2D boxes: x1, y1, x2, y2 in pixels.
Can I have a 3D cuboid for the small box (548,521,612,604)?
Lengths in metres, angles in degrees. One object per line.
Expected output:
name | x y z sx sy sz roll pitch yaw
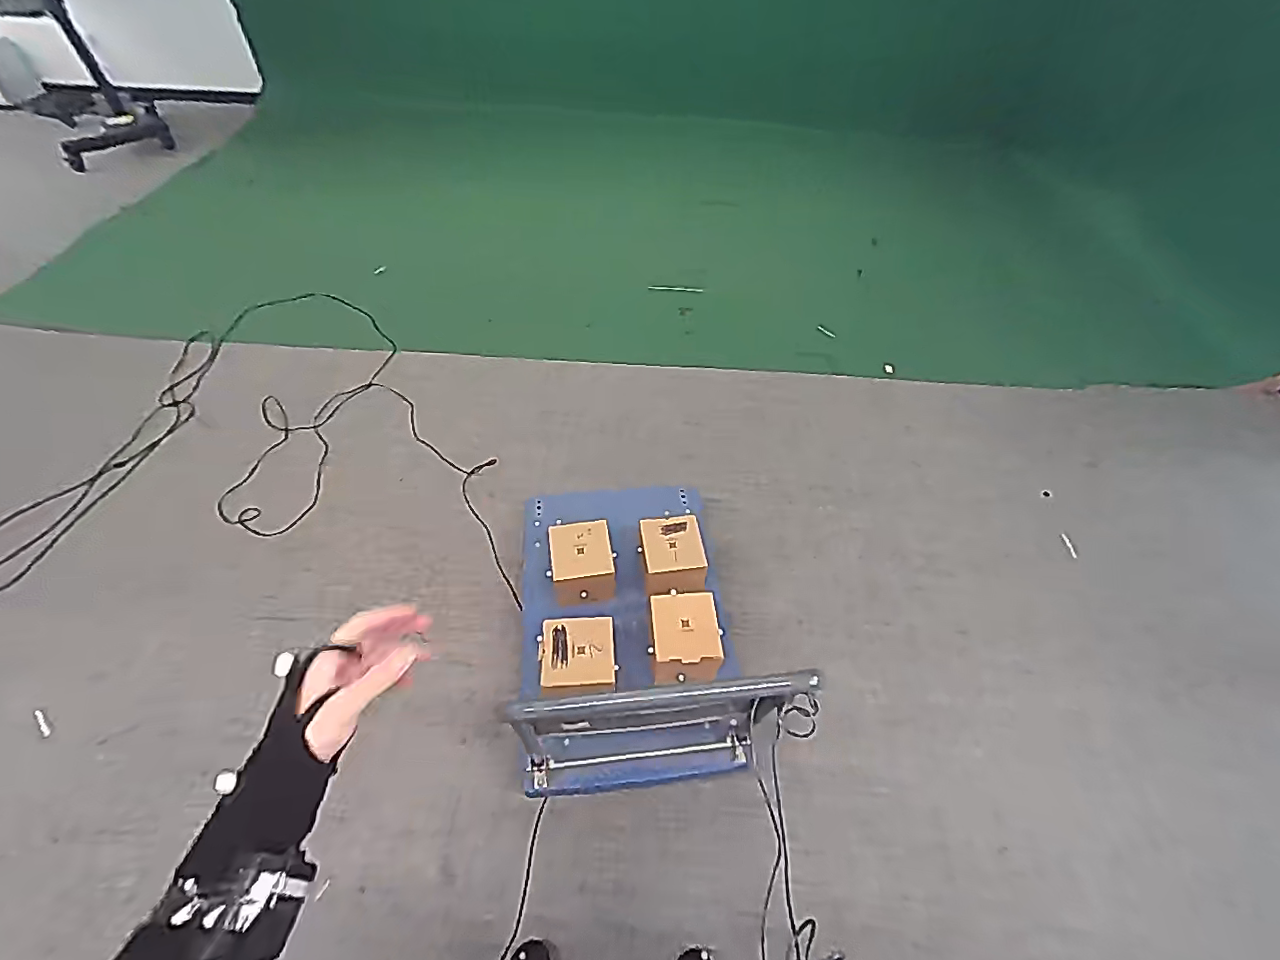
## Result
small box | -0.169 0.241 1.541 0.168 0.176 0.179 -6 52 -8

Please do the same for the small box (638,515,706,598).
small box | 0.086 0.224 1.564 0.168 0.176 0.179 -6 53 -6

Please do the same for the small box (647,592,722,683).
small box | 0.108 0.414 1.416 0.168 0.176 0.179 -3 52 -5
